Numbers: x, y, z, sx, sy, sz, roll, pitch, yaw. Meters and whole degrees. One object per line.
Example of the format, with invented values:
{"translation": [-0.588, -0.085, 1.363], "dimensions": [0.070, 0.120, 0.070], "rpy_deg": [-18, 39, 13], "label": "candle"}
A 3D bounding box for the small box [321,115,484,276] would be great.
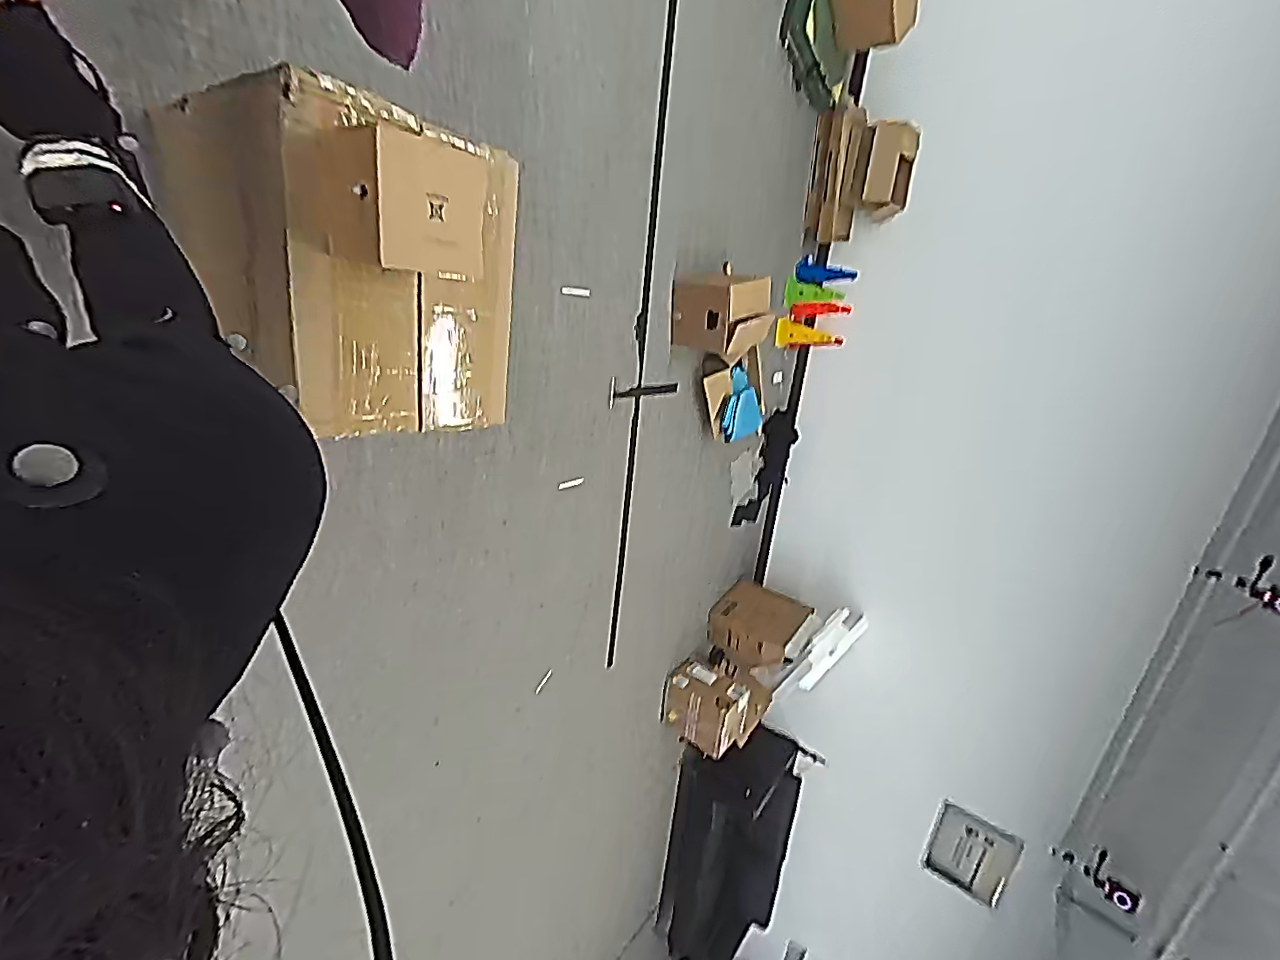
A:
{"translation": [-0.353, -0.412, 0.805], "dimensions": [0.168, 0.176, 0.179], "rpy_deg": [-16, 120, -49], "label": "small box"}
